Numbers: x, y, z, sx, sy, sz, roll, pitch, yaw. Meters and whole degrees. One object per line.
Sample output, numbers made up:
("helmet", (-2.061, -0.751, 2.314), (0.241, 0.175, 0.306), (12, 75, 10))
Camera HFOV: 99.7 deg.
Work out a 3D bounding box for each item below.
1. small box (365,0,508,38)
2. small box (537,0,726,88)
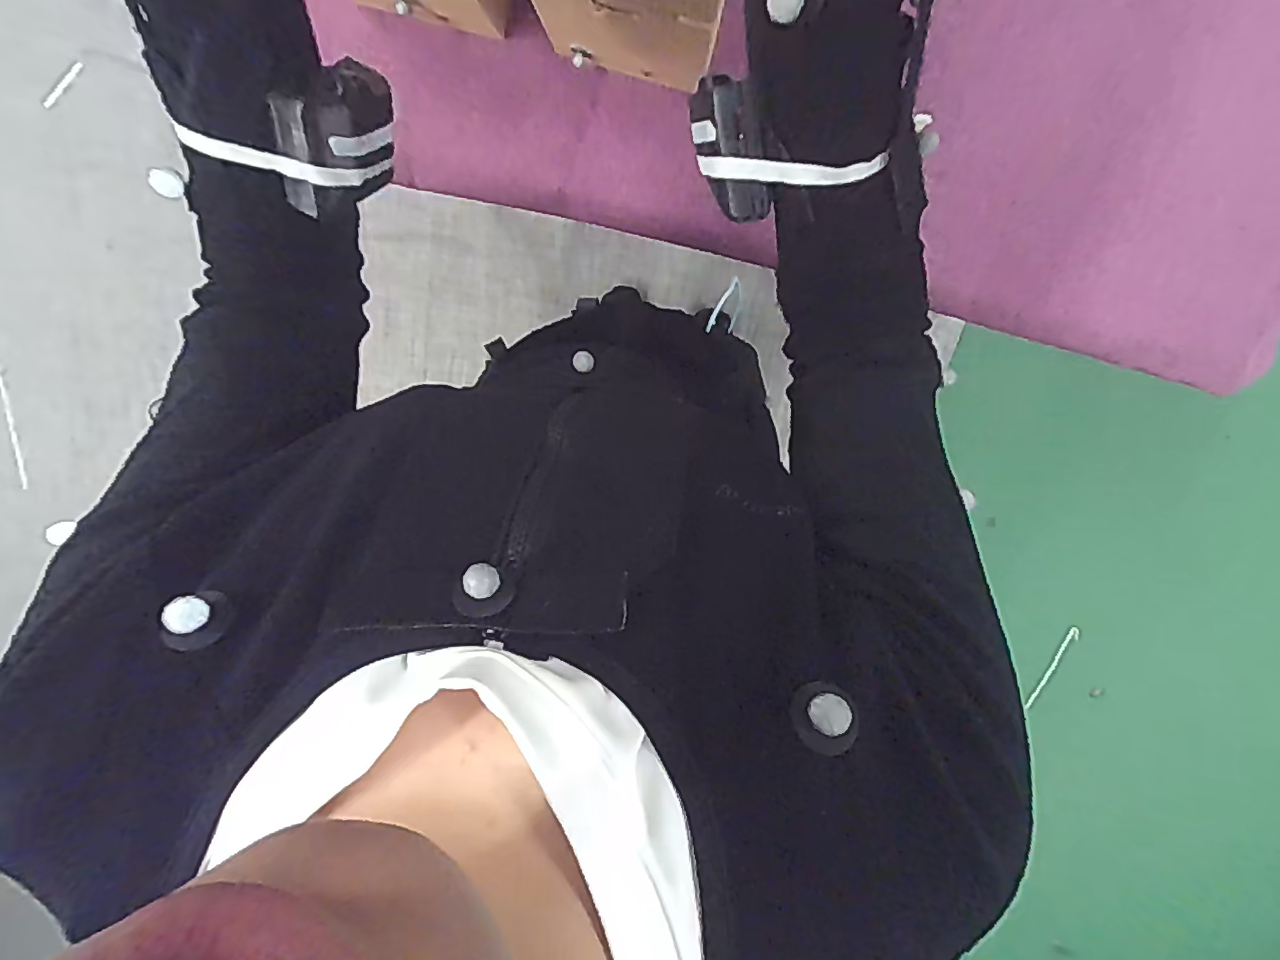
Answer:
("small box", (-0.209, -0.544, 0.475), (0.168, 0.176, 0.179), (13, 110, -2))
("small box", (0.006, -0.493, 0.485), (0.168, 0.176, 0.179), (15, 109, -3))
